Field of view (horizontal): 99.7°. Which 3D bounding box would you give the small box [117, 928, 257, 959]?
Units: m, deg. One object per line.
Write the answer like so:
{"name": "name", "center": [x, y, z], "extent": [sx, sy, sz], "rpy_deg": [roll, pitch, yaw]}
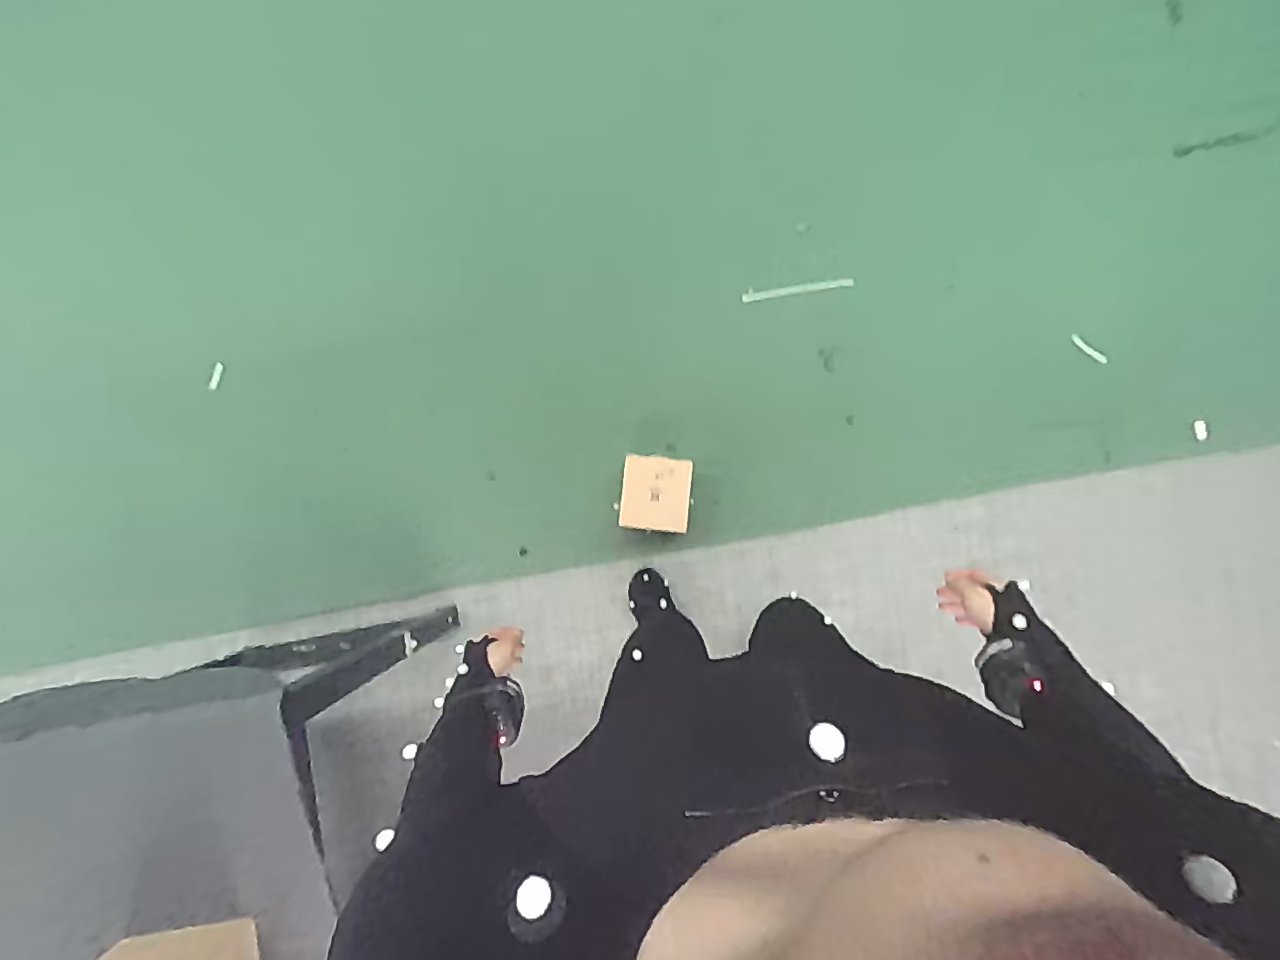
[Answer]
{"name": "small box", "center": [-0.556, 0.648, 0.600], "extent": [0.179, 0.176, 0.168], "rpy_deg": [-10, 87, 0]}

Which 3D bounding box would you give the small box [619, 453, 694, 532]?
{"name": "small box", "center": [0.039, 0.033, 1.369], "extent": [0.168, 0.176, 0.179], "rpy_deg": [6, 86, -1]}
